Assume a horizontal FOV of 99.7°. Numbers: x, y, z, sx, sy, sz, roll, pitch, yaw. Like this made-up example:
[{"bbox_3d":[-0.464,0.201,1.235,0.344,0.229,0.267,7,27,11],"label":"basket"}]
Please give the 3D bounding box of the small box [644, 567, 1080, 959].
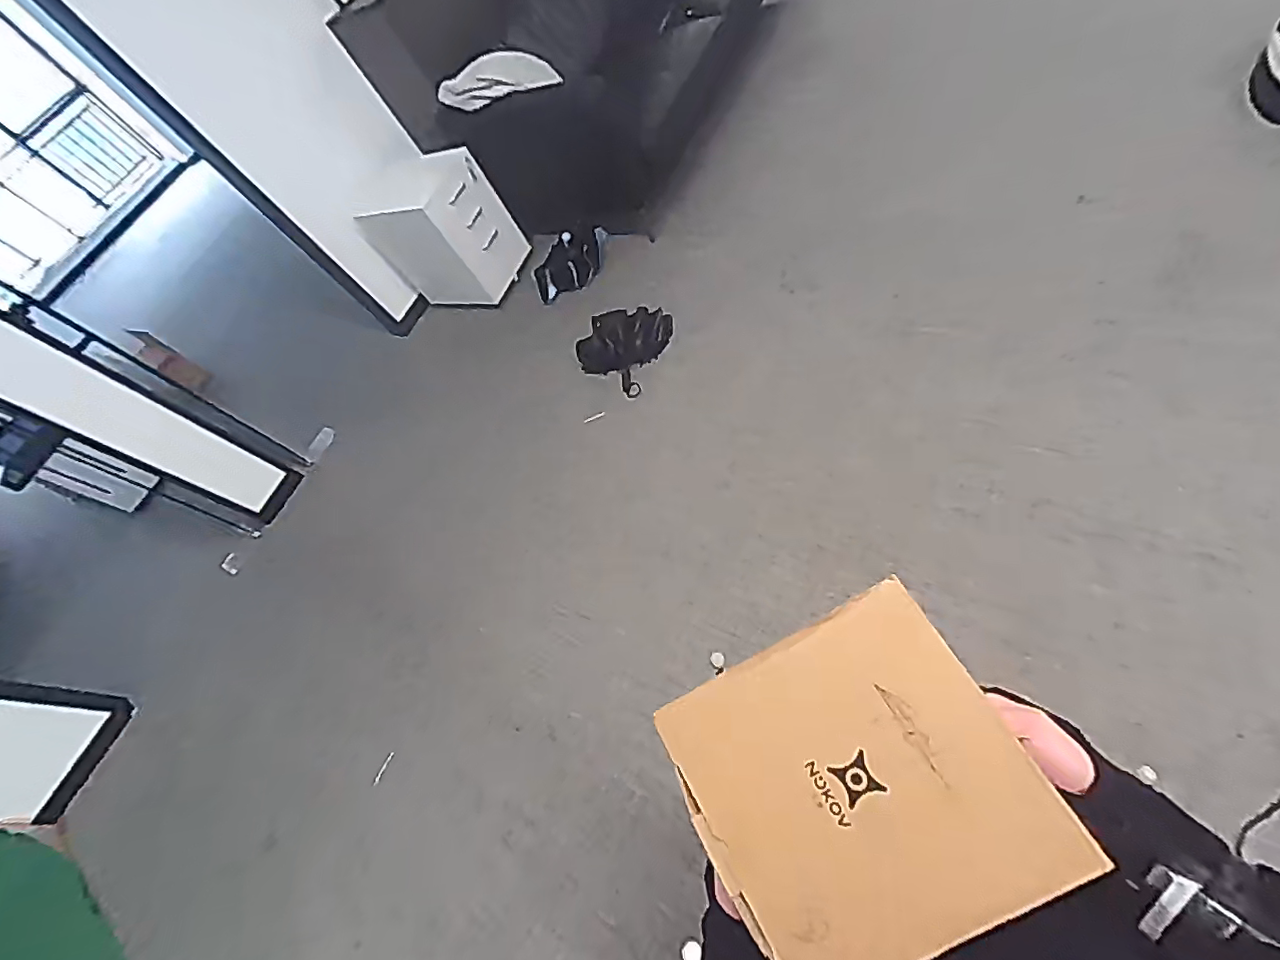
[{"bbox_3d":[0.133,0.182,0.378,0.179,0.176,0.168,-33,70,6],"label":"small box"}]
